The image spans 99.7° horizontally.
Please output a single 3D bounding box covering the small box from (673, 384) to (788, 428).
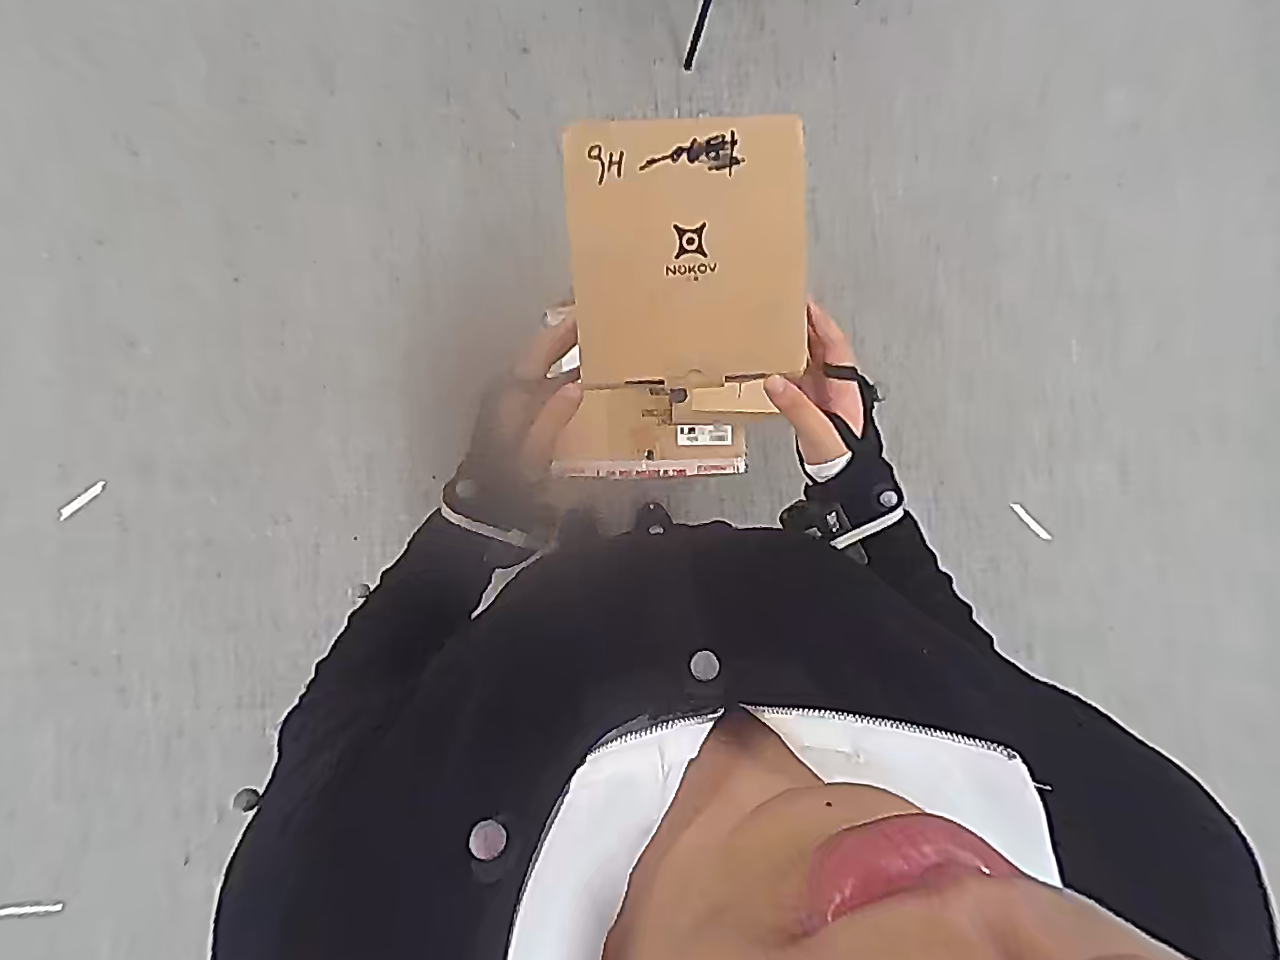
[{"bbox_3d":[0.155,-0.192,0.969,0.168,0.176,0.179,1,89,-7],"label":"small box"}]

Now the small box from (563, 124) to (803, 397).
[{"bbox_3d":[0.030,-0.166,0.458,0.168,0.176,0.179,-5,100,-3],"label":"small box"}]
